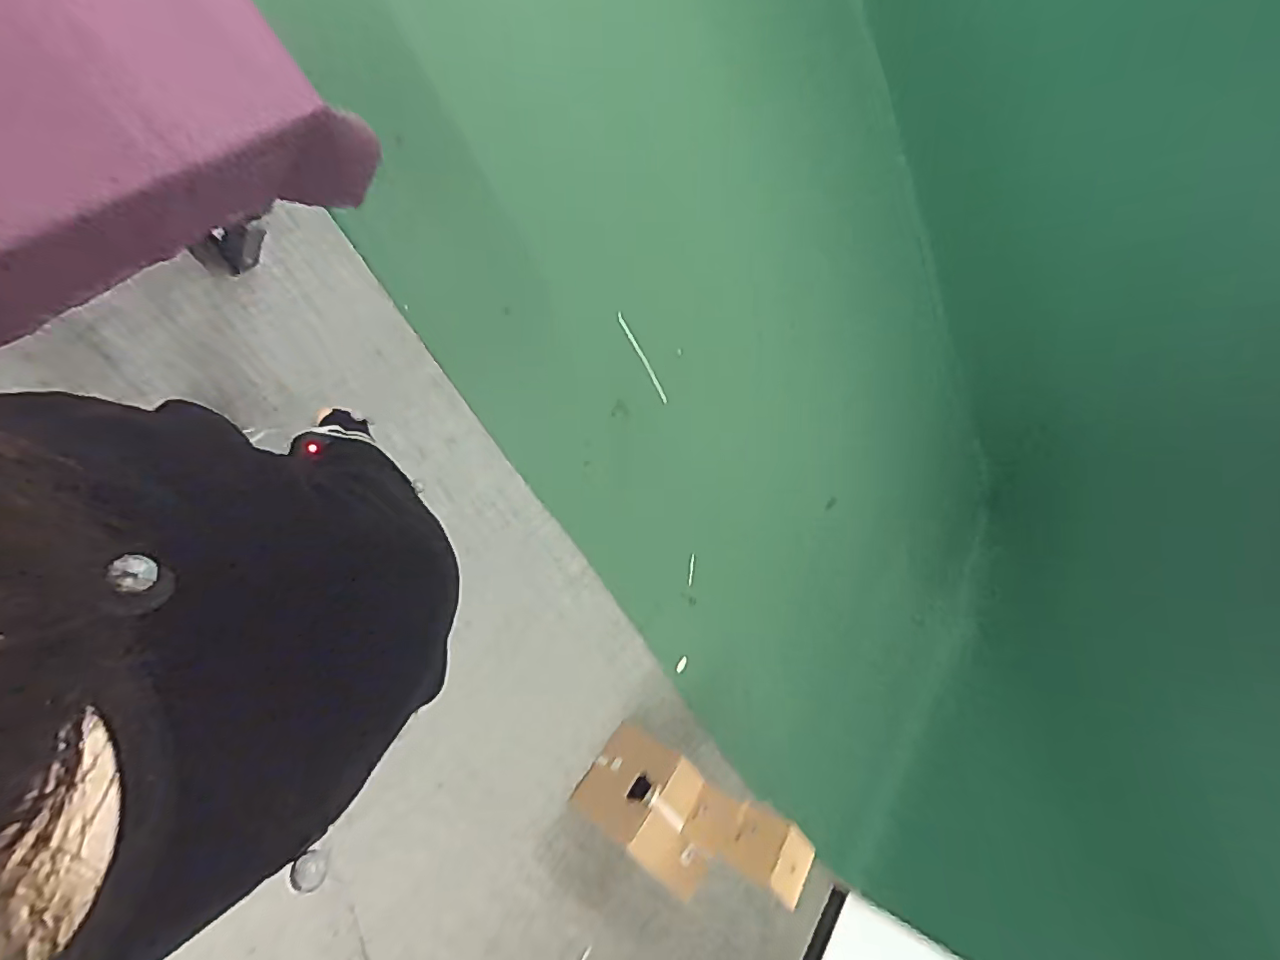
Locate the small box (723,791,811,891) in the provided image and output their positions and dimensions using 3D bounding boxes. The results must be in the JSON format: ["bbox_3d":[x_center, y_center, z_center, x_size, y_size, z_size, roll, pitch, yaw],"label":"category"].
[{"bbox_3d":[0.382,1.080,1.632,0.168,0.176,0.179,-50,120,-30],"label":"small box"}]

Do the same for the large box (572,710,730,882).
[{"bbox_3d":[0.043,1.081,1.880,0.320,0.320,0.408,-48,121,-28],"label":"large box"}]
